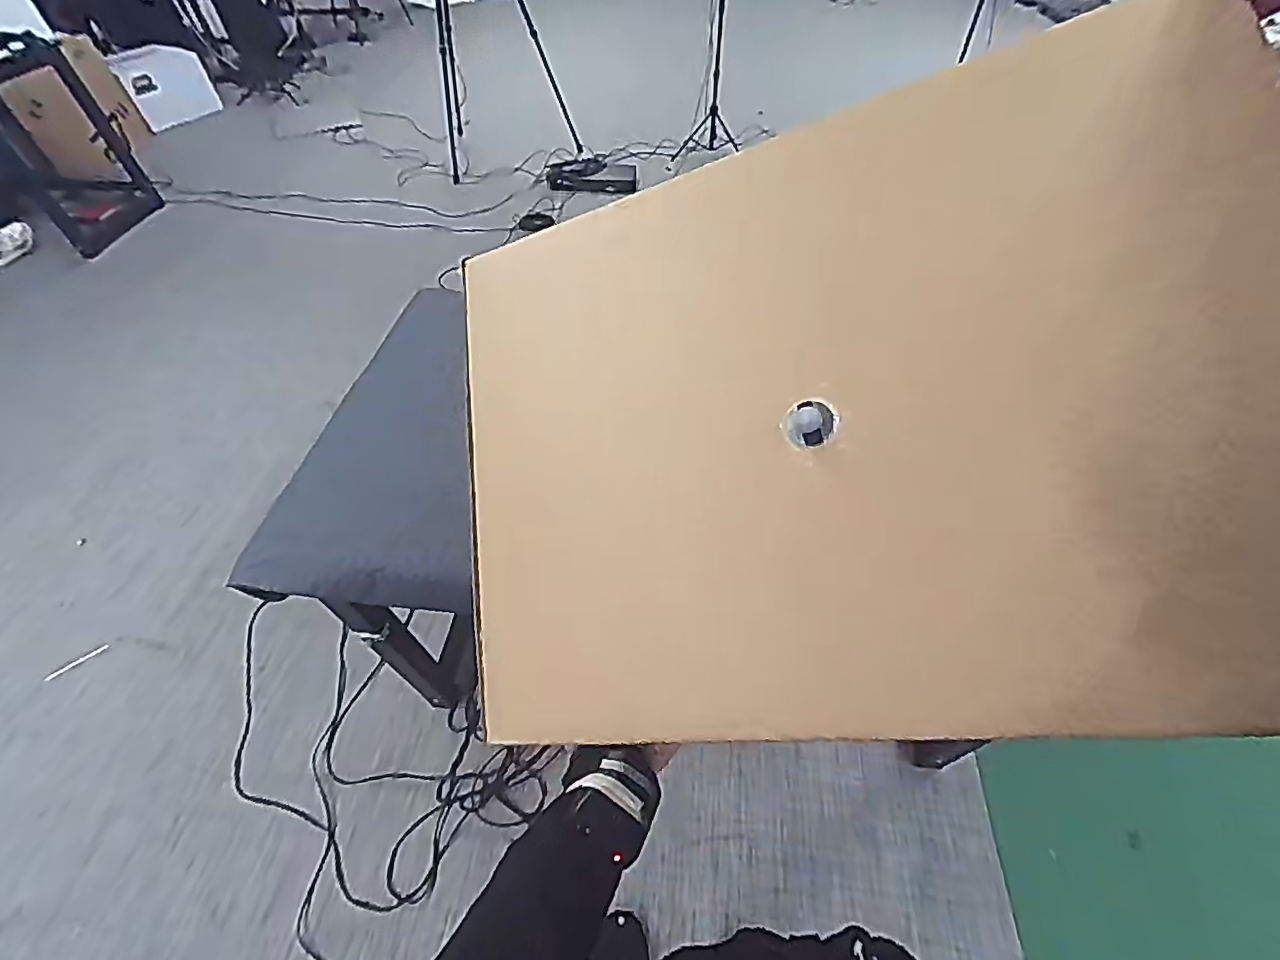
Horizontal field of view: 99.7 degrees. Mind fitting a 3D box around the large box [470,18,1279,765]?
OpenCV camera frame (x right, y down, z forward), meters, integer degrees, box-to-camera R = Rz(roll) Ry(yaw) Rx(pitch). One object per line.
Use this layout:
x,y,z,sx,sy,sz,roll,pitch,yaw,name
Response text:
0.141,-0.003,0.409,0.408,0.320,0.320,-13,76,19,large box
